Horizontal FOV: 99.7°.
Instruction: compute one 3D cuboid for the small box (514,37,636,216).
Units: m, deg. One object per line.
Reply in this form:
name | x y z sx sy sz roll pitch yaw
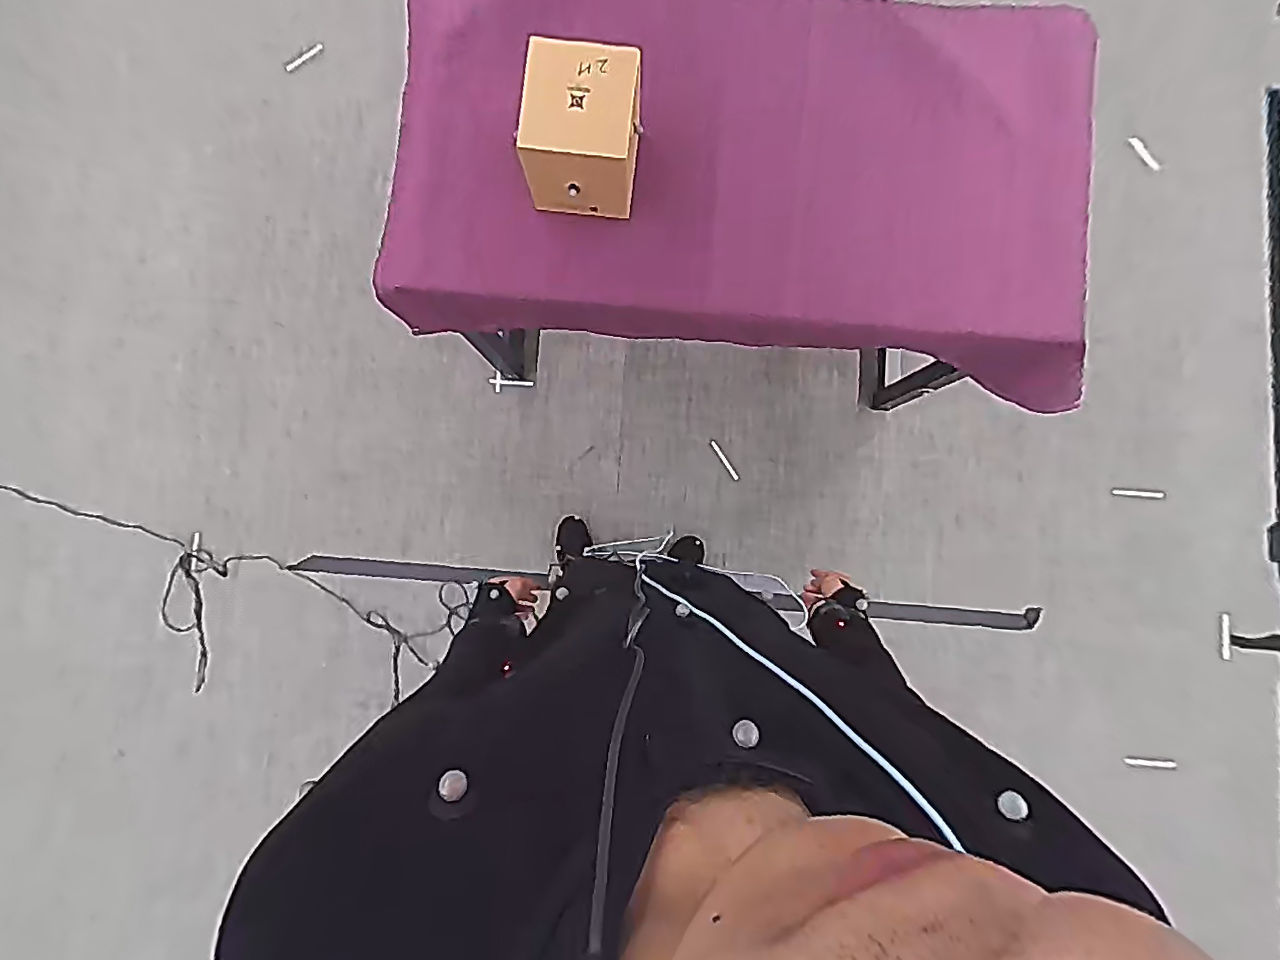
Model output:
small box | -0.096 -0.558 0.876 0.168 0.176 0.179 7 86 -1
